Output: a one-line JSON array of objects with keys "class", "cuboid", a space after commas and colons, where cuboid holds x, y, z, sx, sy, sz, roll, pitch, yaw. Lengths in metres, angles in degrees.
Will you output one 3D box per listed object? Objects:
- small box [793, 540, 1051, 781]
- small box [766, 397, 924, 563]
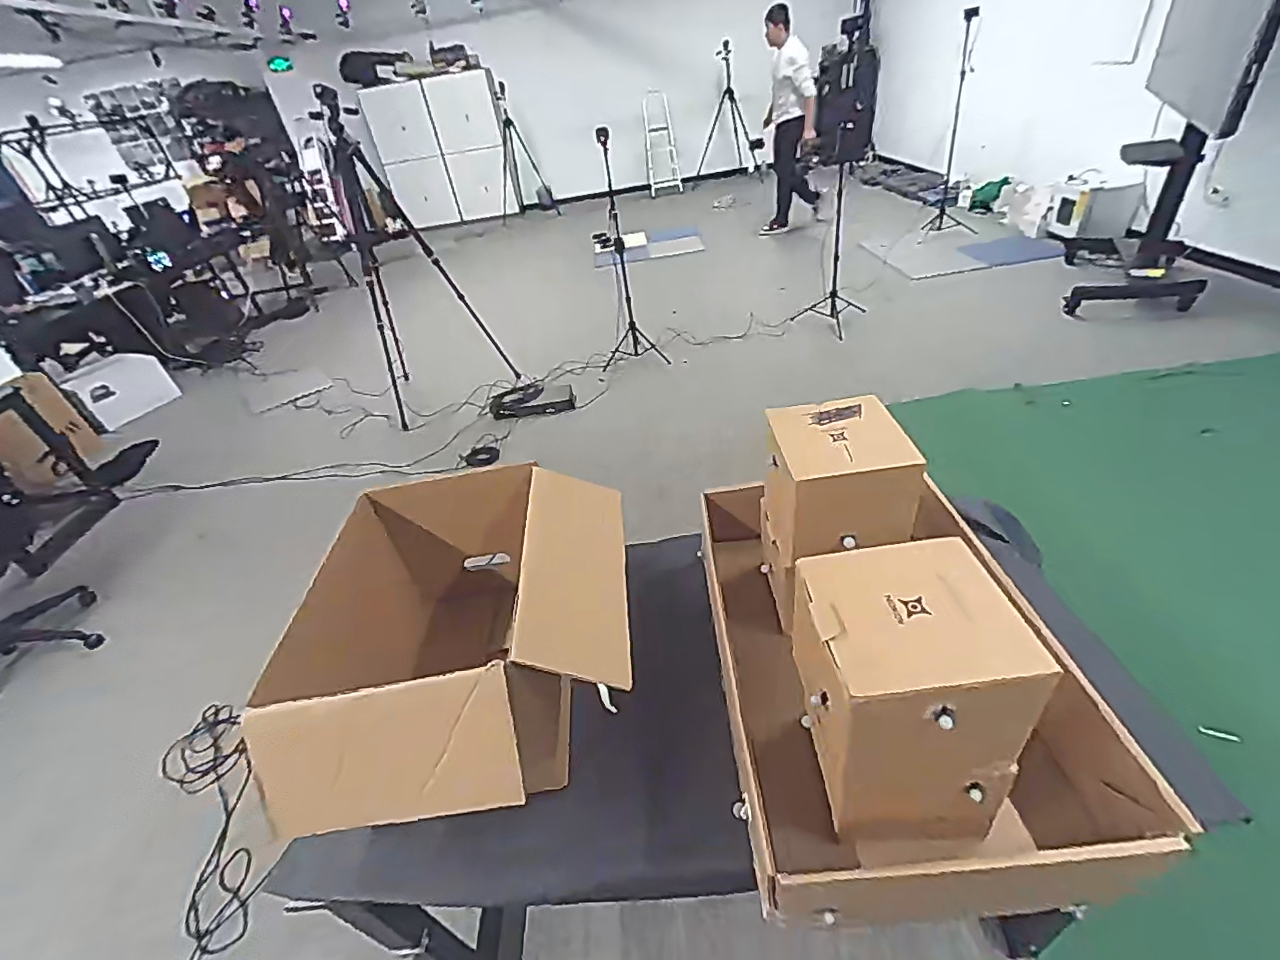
[{"class": "small box", "cuboid": [0.266, 0.188, 0.561, 0.179, 0.176, 0.168, -8, 38, 2]}, {"class": "small box", "cuboid": [0.282, 0.002, 0.790, 0.168, 0.176, 0.179, -8, 39, 4]}]
